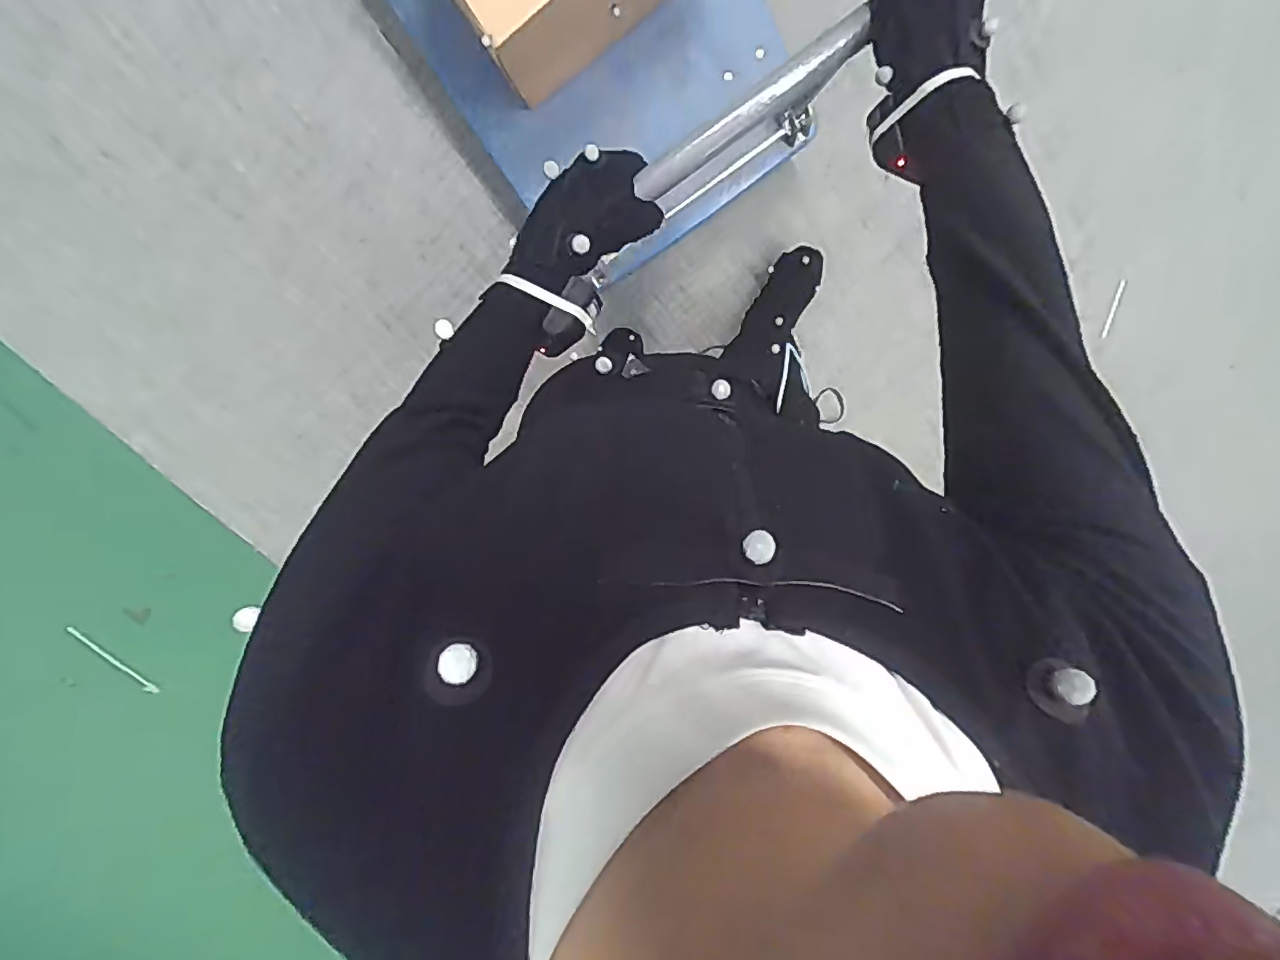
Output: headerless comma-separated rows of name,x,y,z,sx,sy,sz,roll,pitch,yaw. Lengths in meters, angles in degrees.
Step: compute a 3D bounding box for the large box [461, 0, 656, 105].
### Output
large box,-0.131,-0.899,0.842,0.408,0.320,0.320,-34,107,11
